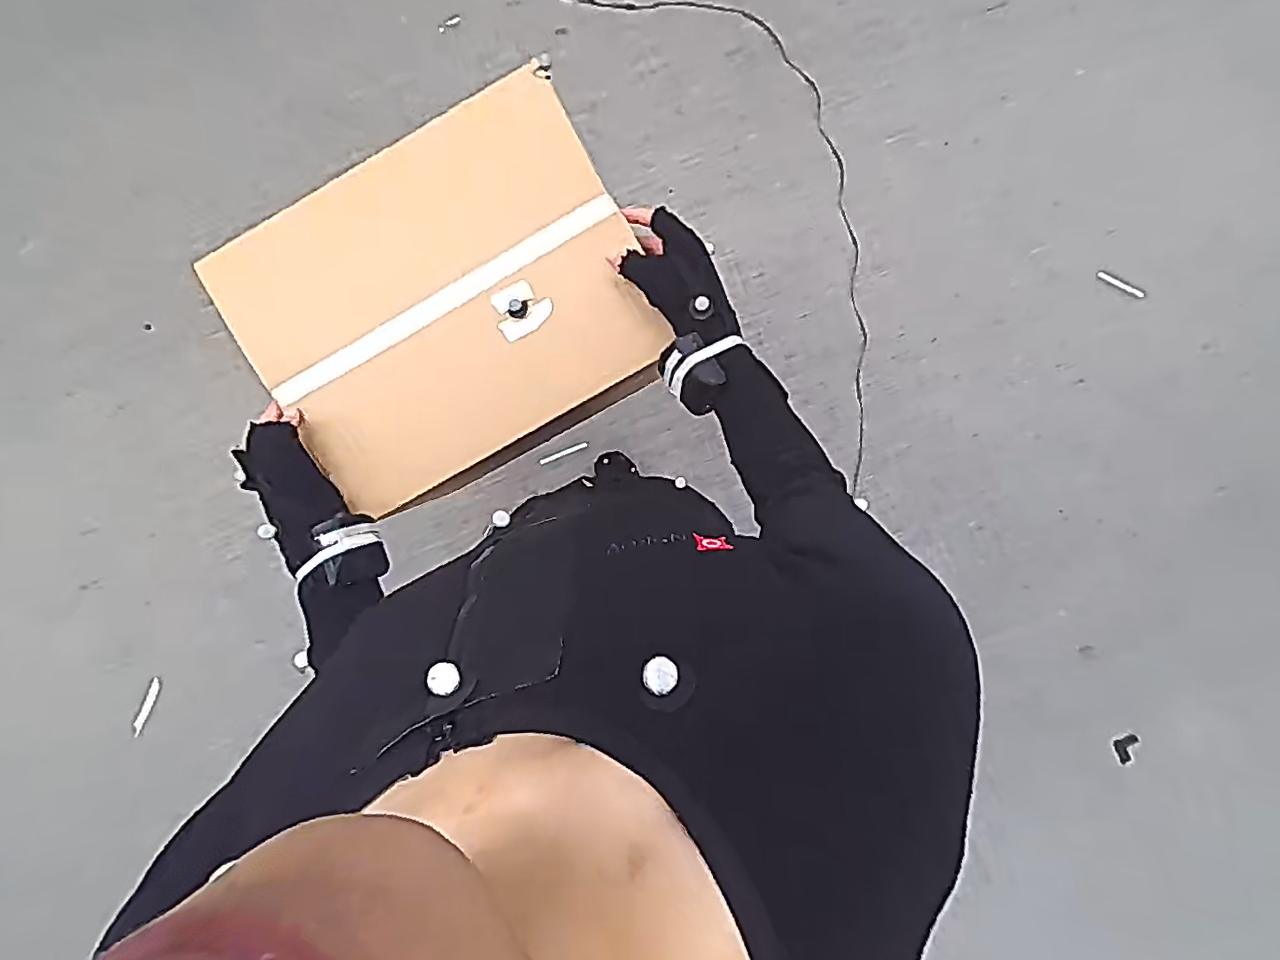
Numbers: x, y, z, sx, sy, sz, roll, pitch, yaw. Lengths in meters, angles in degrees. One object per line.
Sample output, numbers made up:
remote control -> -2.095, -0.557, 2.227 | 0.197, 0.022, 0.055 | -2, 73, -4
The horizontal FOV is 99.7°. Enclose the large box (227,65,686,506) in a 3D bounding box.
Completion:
large box -> -0.194, -0.207, 0.717 | 0.408, 0.320, 0.320 | -28, 95, 2
